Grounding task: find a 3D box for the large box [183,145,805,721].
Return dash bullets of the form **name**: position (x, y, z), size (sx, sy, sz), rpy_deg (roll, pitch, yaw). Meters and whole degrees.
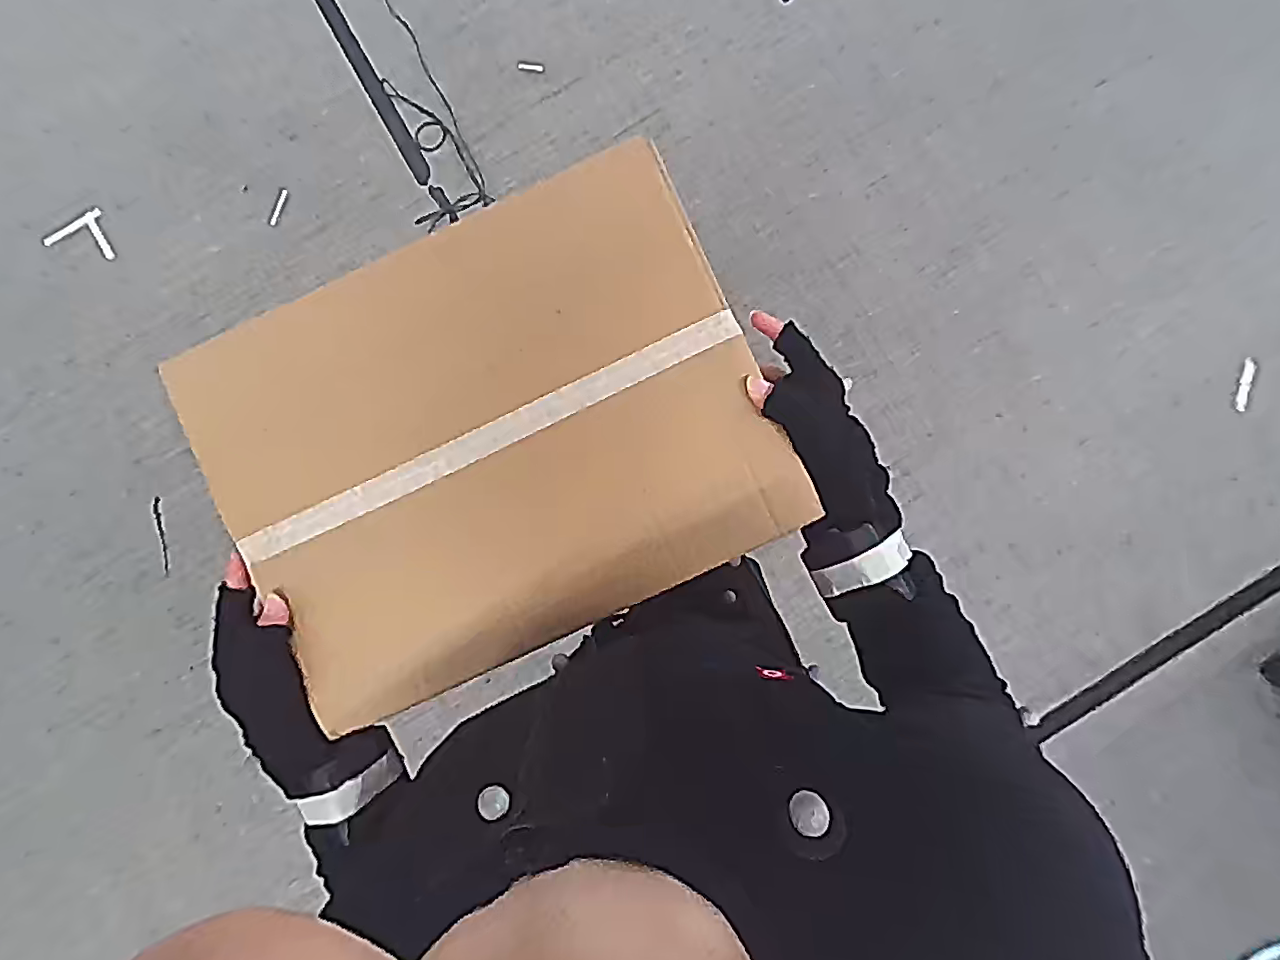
- **large box**: position (-0.110, -0.036, 0.561), size (0.408, 0.320, 0.320), rpy_deg (-25, 89, 2)
